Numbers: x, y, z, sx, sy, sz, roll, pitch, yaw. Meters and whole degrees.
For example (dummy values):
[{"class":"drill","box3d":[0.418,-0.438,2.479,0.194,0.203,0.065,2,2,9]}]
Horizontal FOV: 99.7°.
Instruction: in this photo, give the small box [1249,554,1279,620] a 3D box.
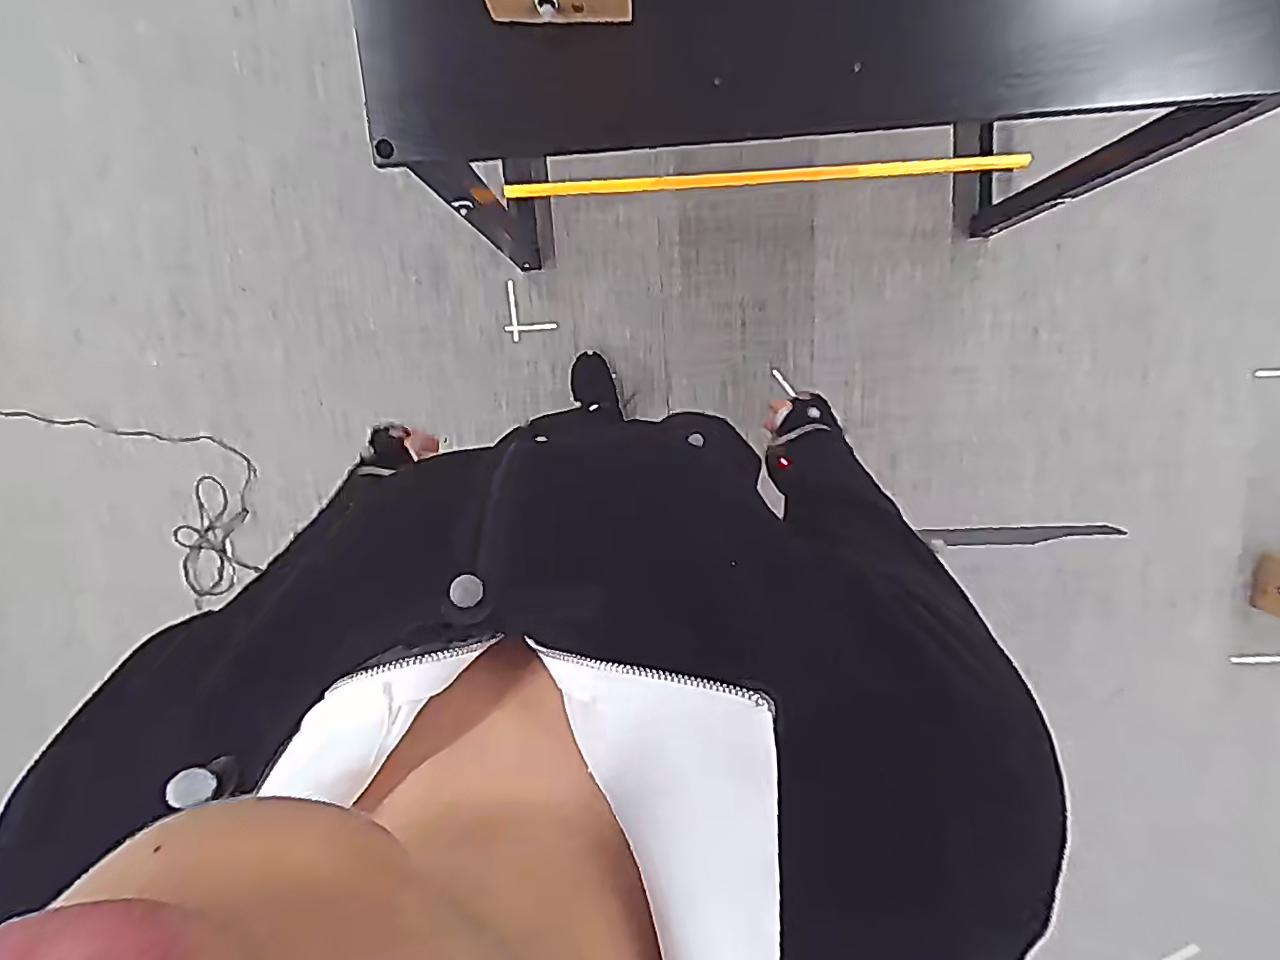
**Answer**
[{"class":"small box","box3d":[1.779,0.295,1.417,0.179,0.176,0.168,-1,100,2]}]

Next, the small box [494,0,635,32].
[{"class":"small box","box3d":[-0.090,-0.610,0.555,0.168,0.176,0.179,0,100,2]}]
